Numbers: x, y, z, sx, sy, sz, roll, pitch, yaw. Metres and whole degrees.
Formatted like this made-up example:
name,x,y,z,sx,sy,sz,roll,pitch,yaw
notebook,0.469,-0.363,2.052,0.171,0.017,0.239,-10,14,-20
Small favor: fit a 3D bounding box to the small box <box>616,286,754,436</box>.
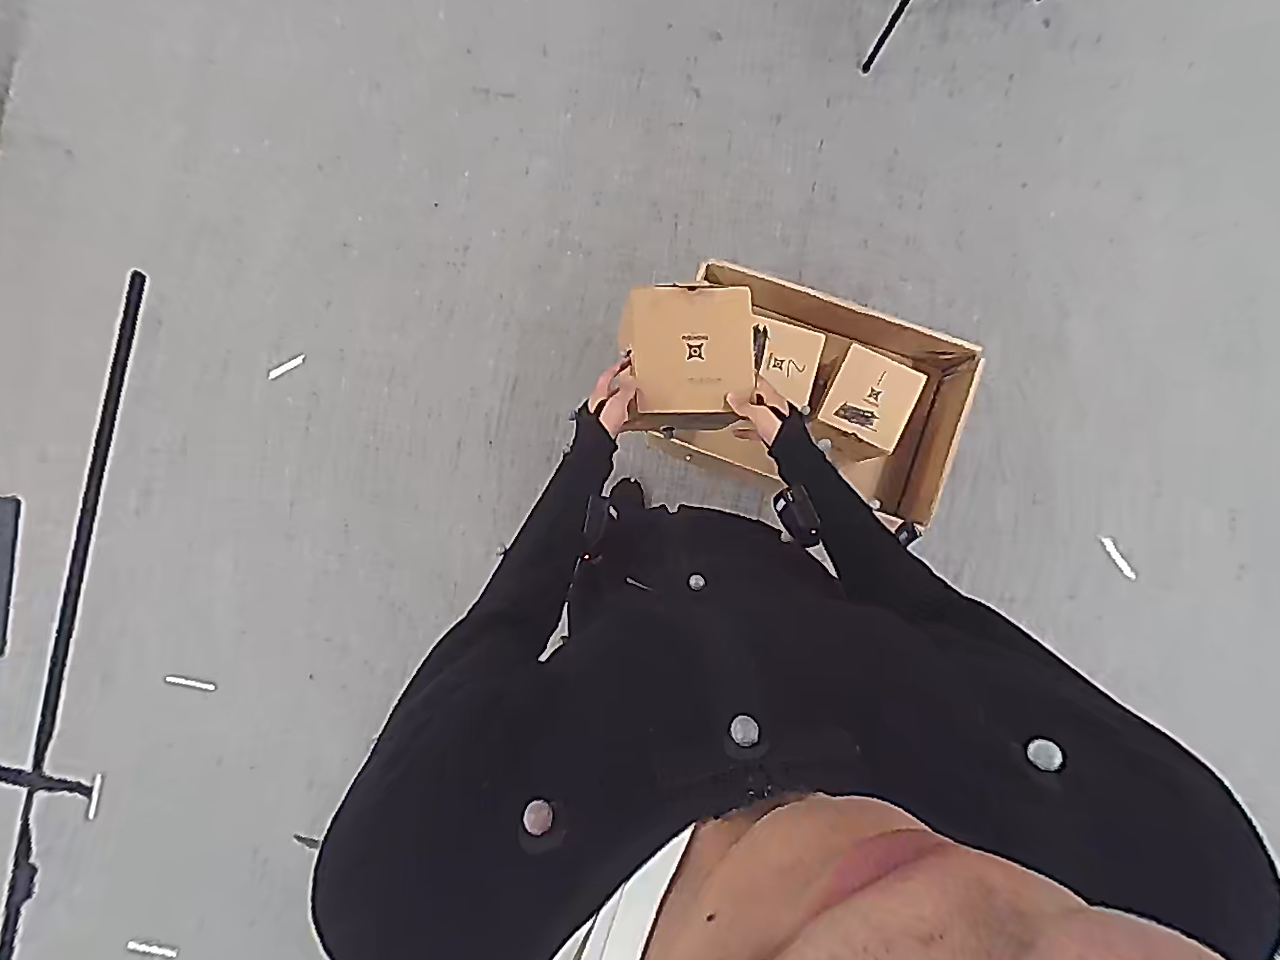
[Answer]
name,x,y,z,sx,sy,sz,roll,pitch,yaw
small box,0.057,-0.166,0.797,0.168,0.176,0.179,-3,86,-8
